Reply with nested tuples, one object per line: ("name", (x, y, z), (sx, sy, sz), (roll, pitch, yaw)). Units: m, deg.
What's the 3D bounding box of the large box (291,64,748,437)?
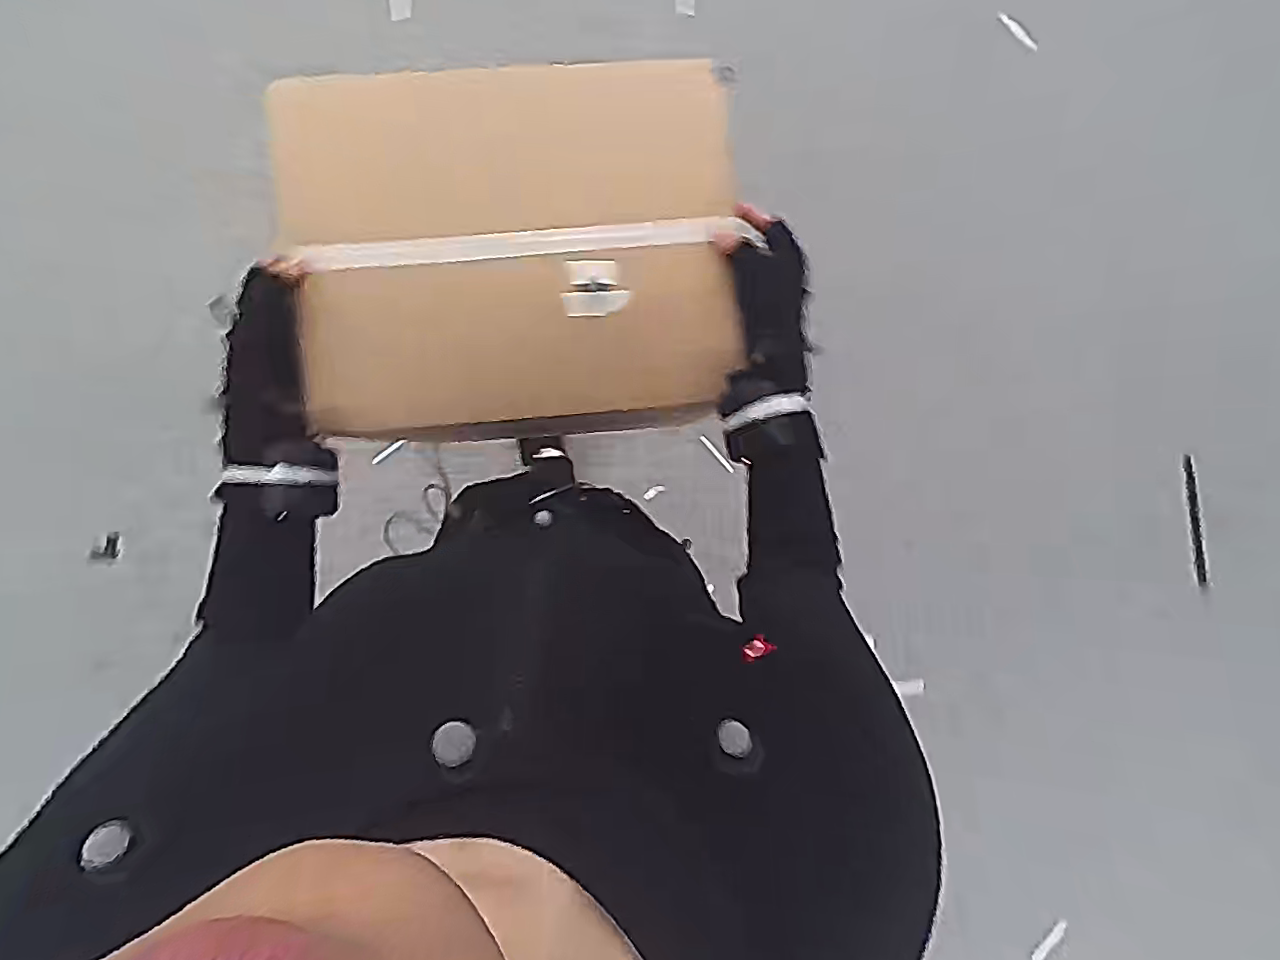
("large box", (-0.117, -0.228, 0.651), (0.408, 0.320, 0.320), (-5, 93, -4))
